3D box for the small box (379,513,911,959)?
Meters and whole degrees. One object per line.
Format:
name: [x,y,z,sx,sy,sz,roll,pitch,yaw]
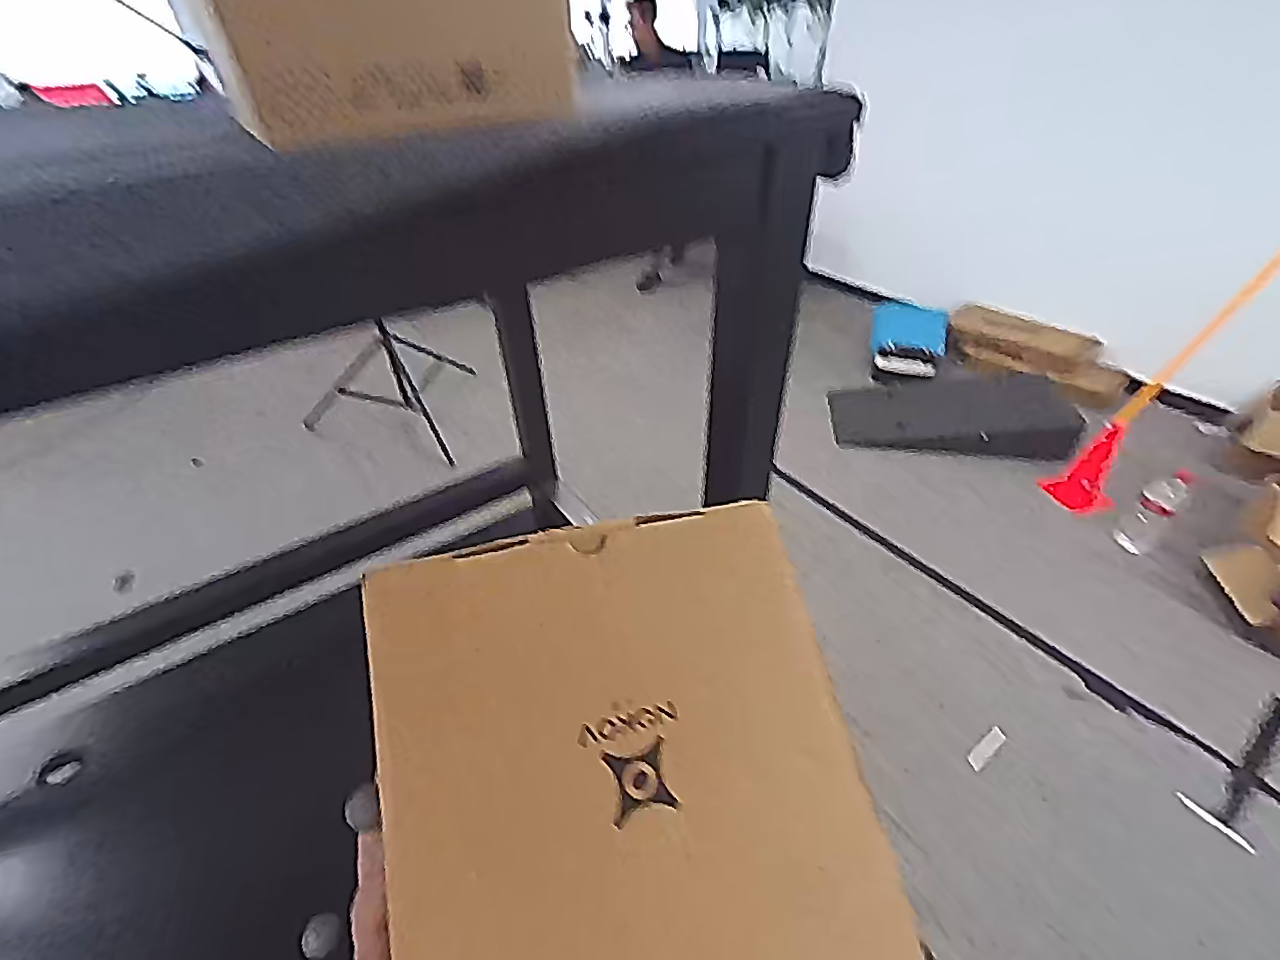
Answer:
small box: [-0.017,0.135,0.266,0.168,0.176,0.179,-8,68,-16]
